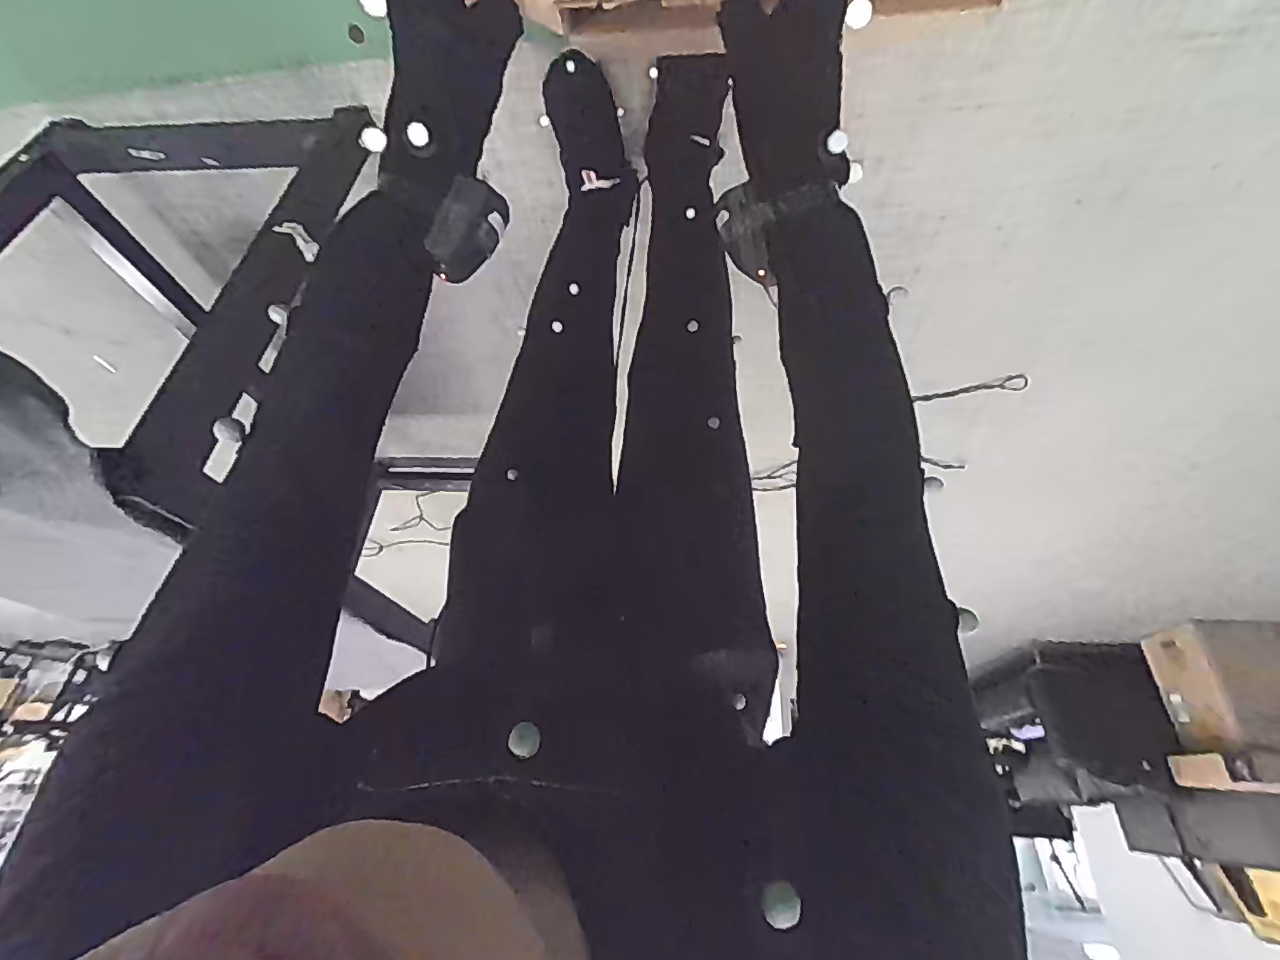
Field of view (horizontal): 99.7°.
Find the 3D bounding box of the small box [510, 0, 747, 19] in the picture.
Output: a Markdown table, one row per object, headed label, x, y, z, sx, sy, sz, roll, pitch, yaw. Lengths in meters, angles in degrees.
| label | x | y | z | sx | sy | sz | roll | pitch | yaw |
| --- | --- | --- | --- | --- | --- | --- | --- | --- | --- |
| small box | -0.002 | -0.430 | 0.346 | 0.168 | 0.176 | 0.179 | 3 | 142 | 6 |
